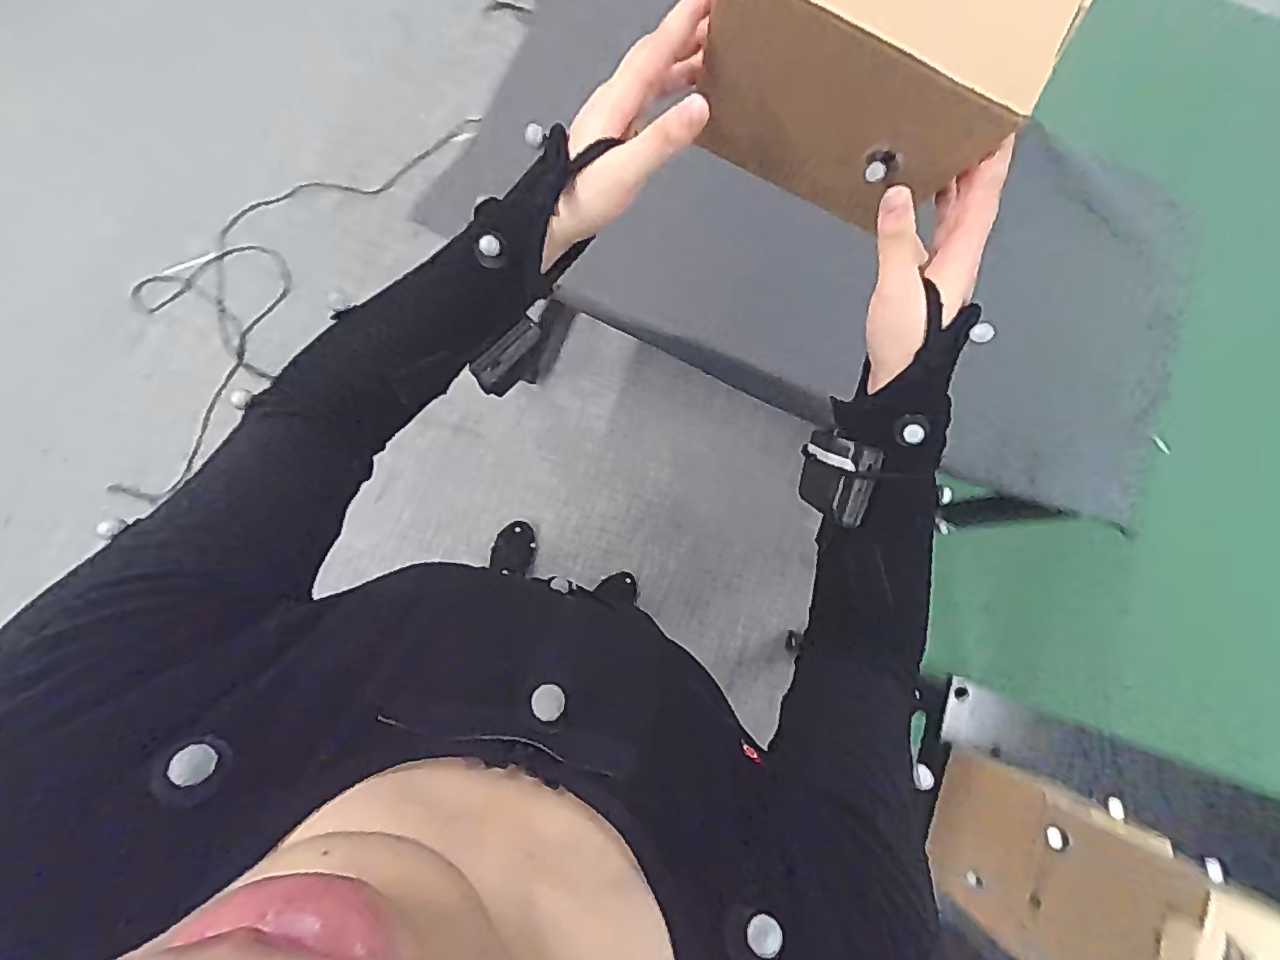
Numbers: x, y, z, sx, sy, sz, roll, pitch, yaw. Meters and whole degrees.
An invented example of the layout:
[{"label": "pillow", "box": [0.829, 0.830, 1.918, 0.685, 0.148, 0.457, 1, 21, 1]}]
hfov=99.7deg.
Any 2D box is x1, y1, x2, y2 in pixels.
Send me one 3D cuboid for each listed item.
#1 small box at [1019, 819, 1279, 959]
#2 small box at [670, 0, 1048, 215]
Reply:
[{"label": "small box", "box": [0.517, 0.467, 0.519, 0.179, 0.176, 0.168, 24, 82, -1]}, {"label": "small box", "box": [0.131, -0.299, 0.341, 0.179, 0.176, 0.168, 23, 93, -2]}]
